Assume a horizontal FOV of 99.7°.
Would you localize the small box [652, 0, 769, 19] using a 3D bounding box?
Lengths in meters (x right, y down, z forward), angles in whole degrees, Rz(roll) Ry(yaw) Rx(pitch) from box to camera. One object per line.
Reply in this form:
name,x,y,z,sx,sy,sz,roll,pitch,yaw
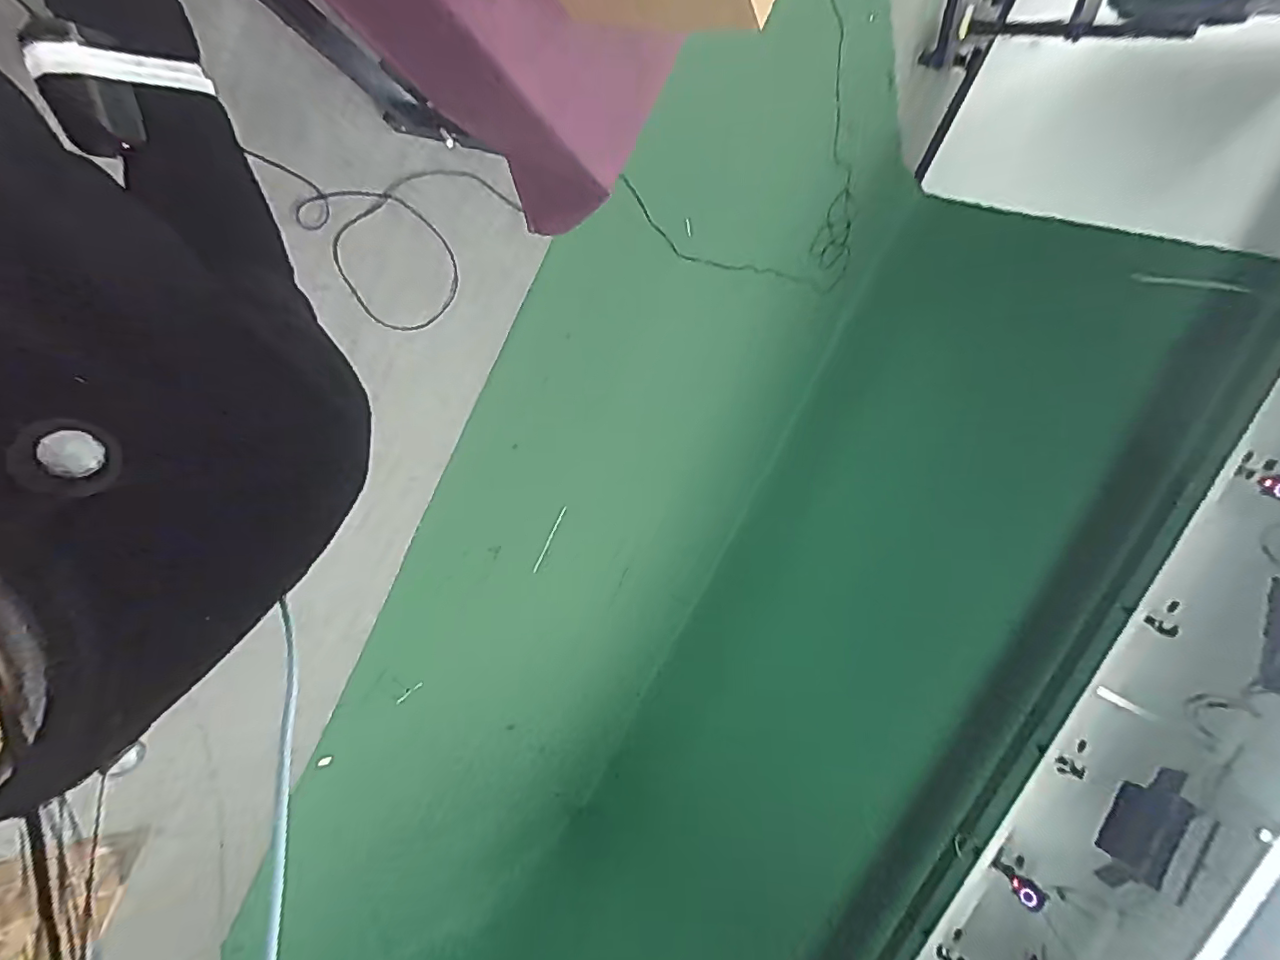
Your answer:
small box,0.078,-0.680,0.616,0.179,0.176,0.168,14,103,-59
